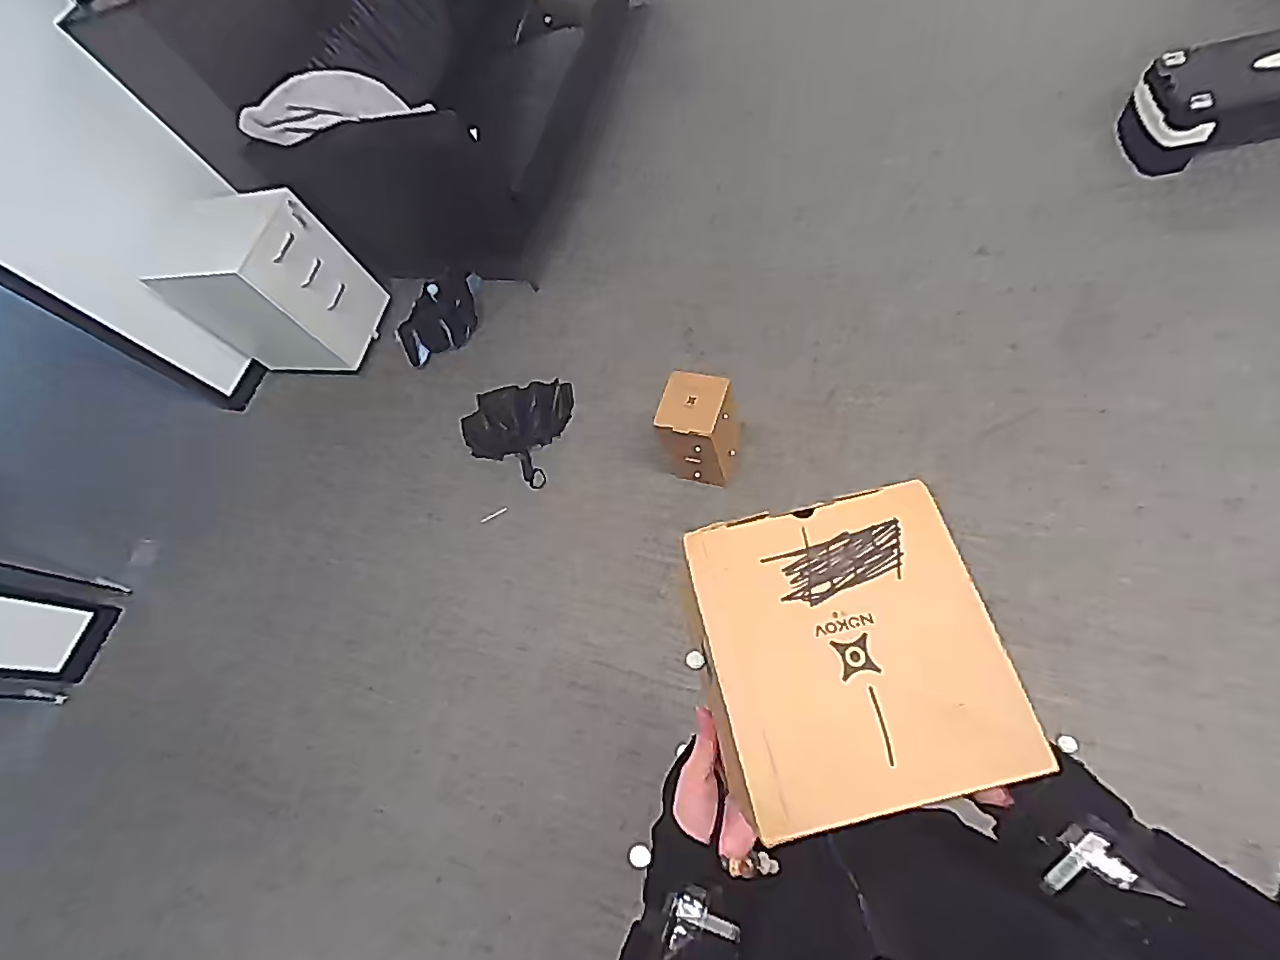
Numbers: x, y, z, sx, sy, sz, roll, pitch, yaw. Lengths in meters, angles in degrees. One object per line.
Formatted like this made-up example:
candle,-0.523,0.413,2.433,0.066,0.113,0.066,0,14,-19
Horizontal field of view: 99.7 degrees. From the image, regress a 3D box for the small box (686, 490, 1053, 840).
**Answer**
small box,0.132,0.130,0.396,0.168,0.176,0.179,-12,68,-2
